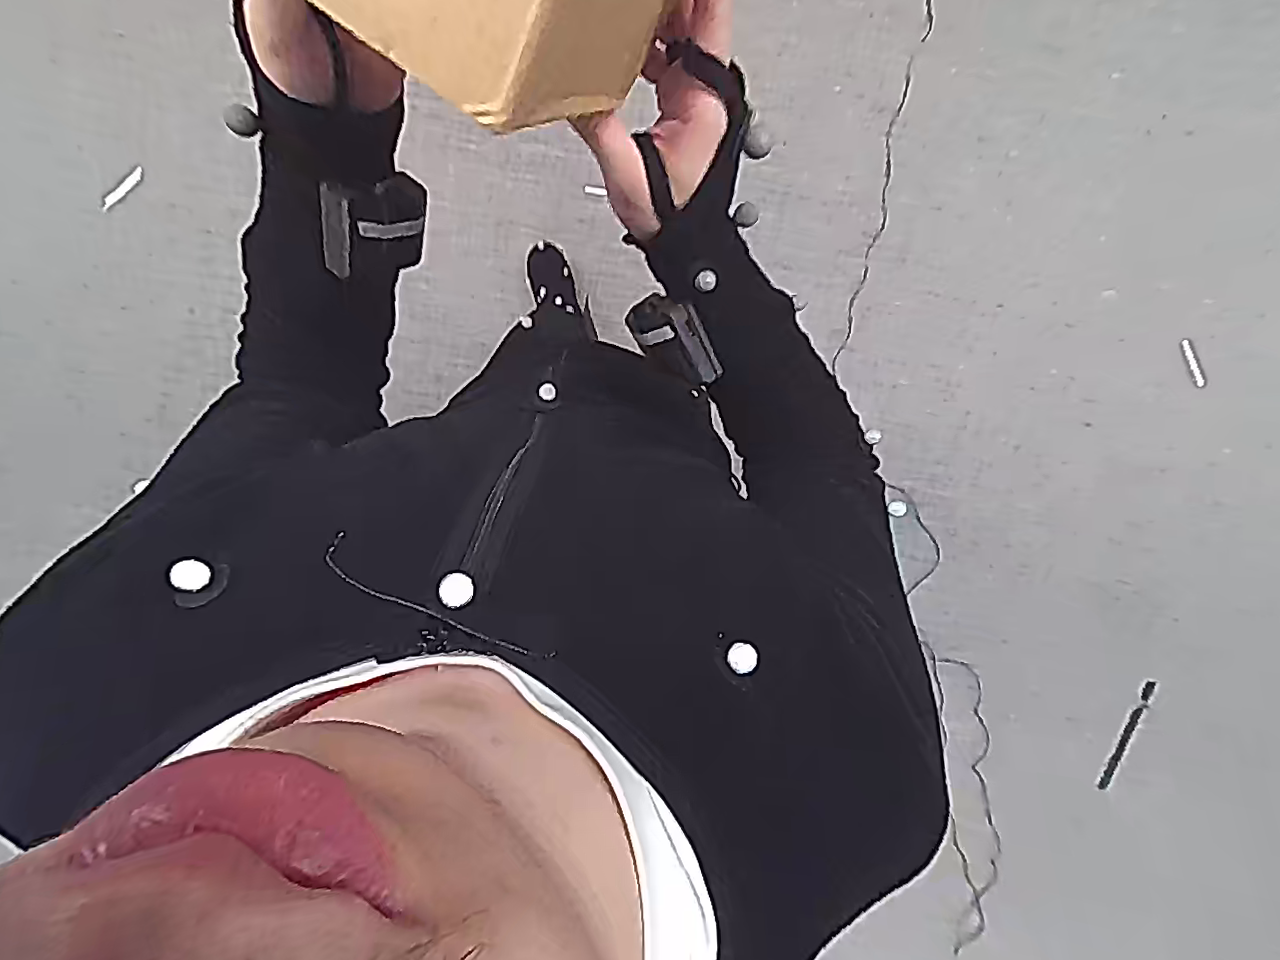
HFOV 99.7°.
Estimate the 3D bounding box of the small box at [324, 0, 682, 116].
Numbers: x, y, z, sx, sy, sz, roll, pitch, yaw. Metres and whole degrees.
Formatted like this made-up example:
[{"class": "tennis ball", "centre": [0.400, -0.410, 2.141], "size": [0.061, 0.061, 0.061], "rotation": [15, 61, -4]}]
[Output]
[{"class": "small box", "centre": [-0.051, -0.238, 0.150], "size": [0.179, 0.176, 0.168], "rotation": [31, 127, -11]}]
